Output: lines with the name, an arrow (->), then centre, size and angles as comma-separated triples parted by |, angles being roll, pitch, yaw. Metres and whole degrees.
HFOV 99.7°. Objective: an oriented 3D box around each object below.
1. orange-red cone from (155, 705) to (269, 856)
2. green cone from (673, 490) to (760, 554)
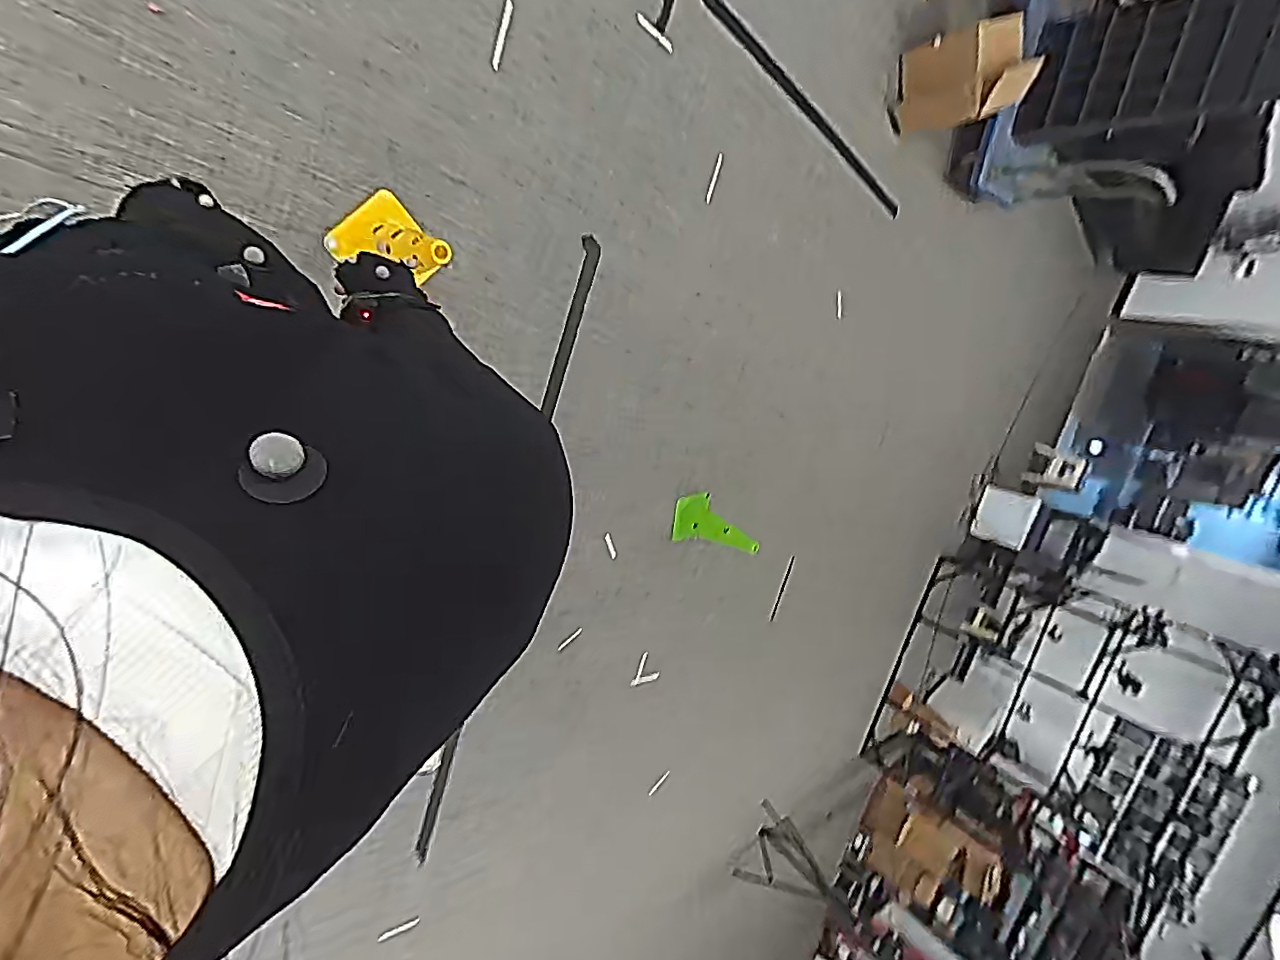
orange-red cone -> -0.966, 0.712, 1.245 | 0.198, 0.360, 0.199 | 19, 94, -45
green cone -> 0.332, 0.202, 2.198 | 0.200, 0.368, 0.202 | -11, 117, -38
